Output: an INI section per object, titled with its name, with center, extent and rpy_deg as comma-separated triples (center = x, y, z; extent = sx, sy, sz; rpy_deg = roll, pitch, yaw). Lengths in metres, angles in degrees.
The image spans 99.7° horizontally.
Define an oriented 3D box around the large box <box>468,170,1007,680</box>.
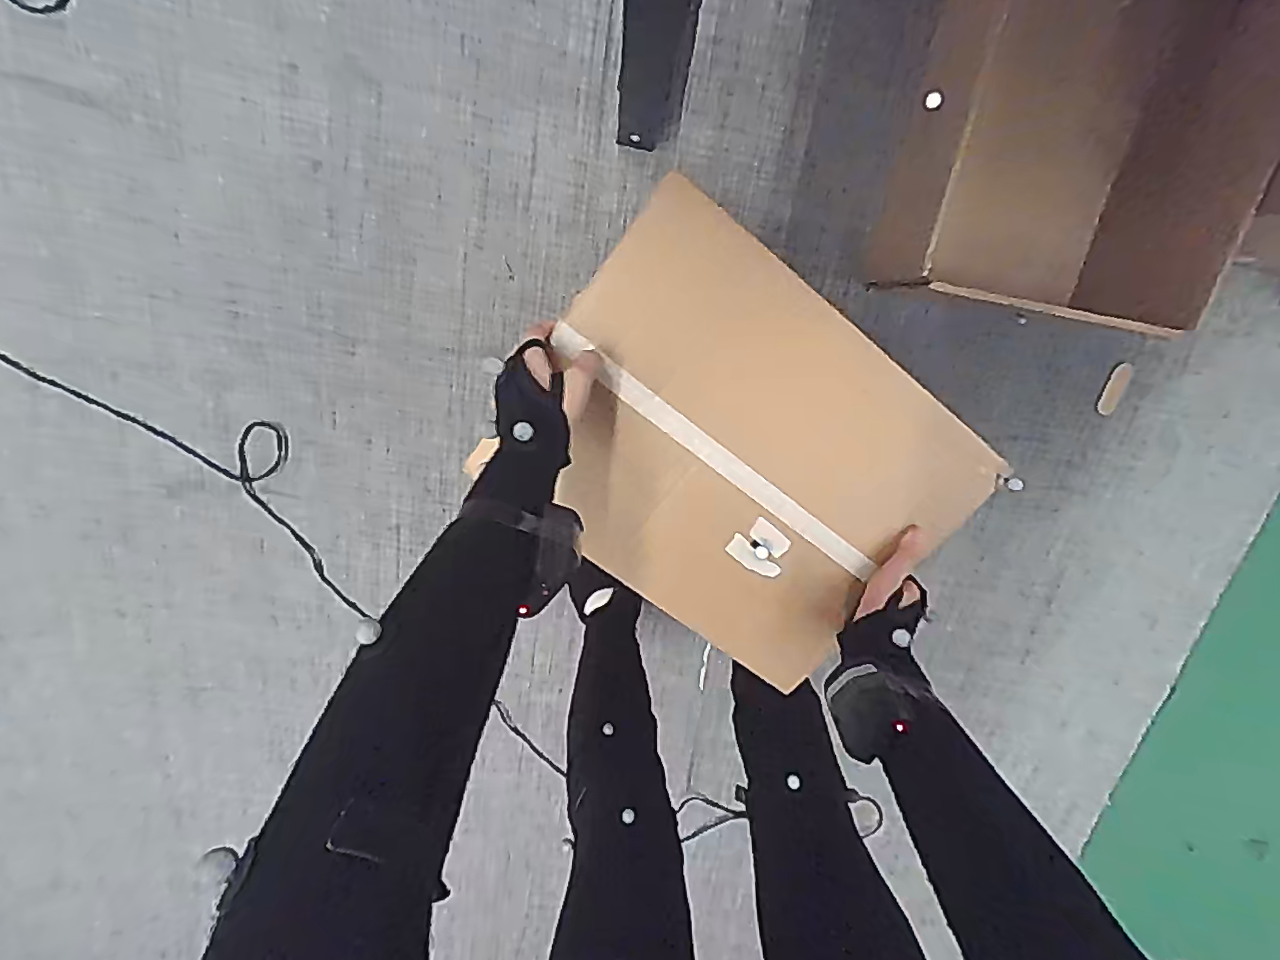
[large box]
center = 0.086, -0.062, 0.631
extent = 0.408, 0.320, 0.320
rpy_deg = 37, 104, -12
